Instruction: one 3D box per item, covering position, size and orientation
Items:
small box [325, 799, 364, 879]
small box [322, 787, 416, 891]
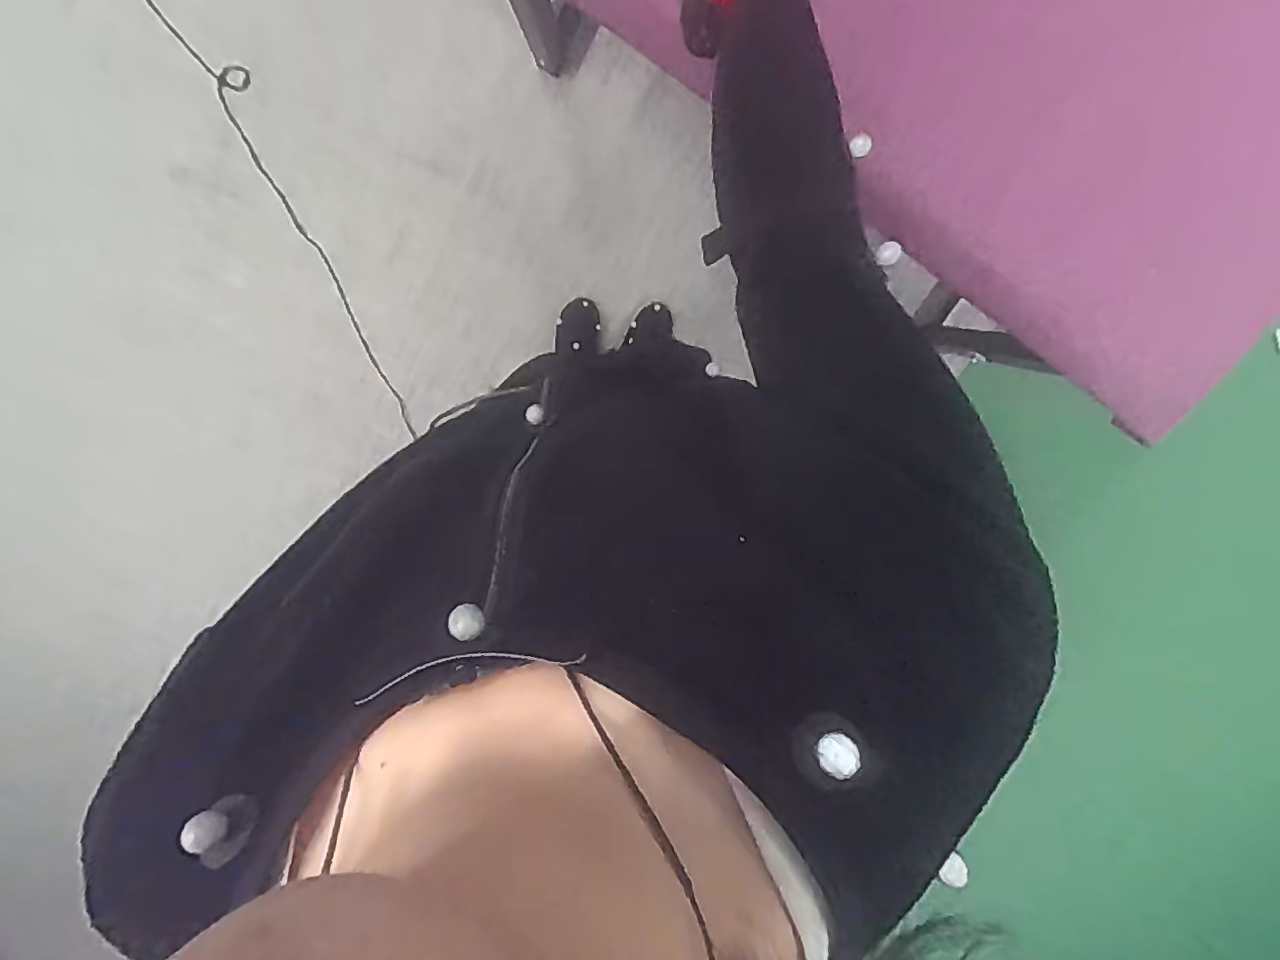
[{"bbox_3d":[-0.946,1.237,1.858,0.179,0.176,0.168,16,108,-5],"label":"small box"},{"bbox_3d":[-0.806,1.076,1.632,0.168,0.176,0.179,38,104,-11],"label":"small box"}]
